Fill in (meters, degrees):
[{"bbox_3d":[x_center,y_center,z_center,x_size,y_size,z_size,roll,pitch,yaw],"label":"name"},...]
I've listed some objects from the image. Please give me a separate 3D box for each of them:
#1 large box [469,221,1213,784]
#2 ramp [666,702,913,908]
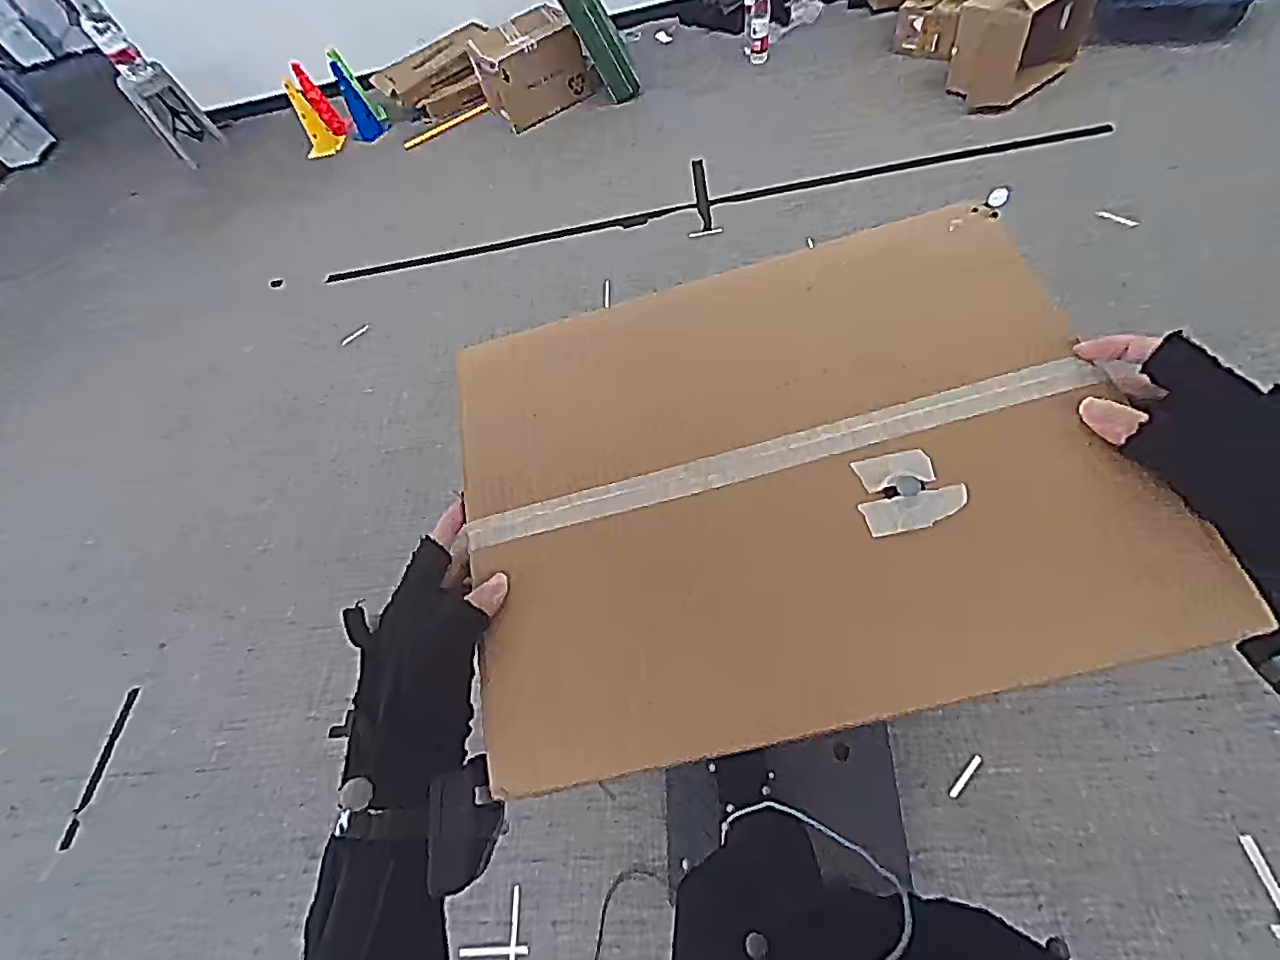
[{"bbox_3d":[0.107,0.047,0.494,0.408,0.320,0.320,-15,66,4],"label":"large box"},{"bbox_3d":[0.295,0.403,1.277,0.509,0.206,0.991,-6,60,7],"label":"ramp"}]
